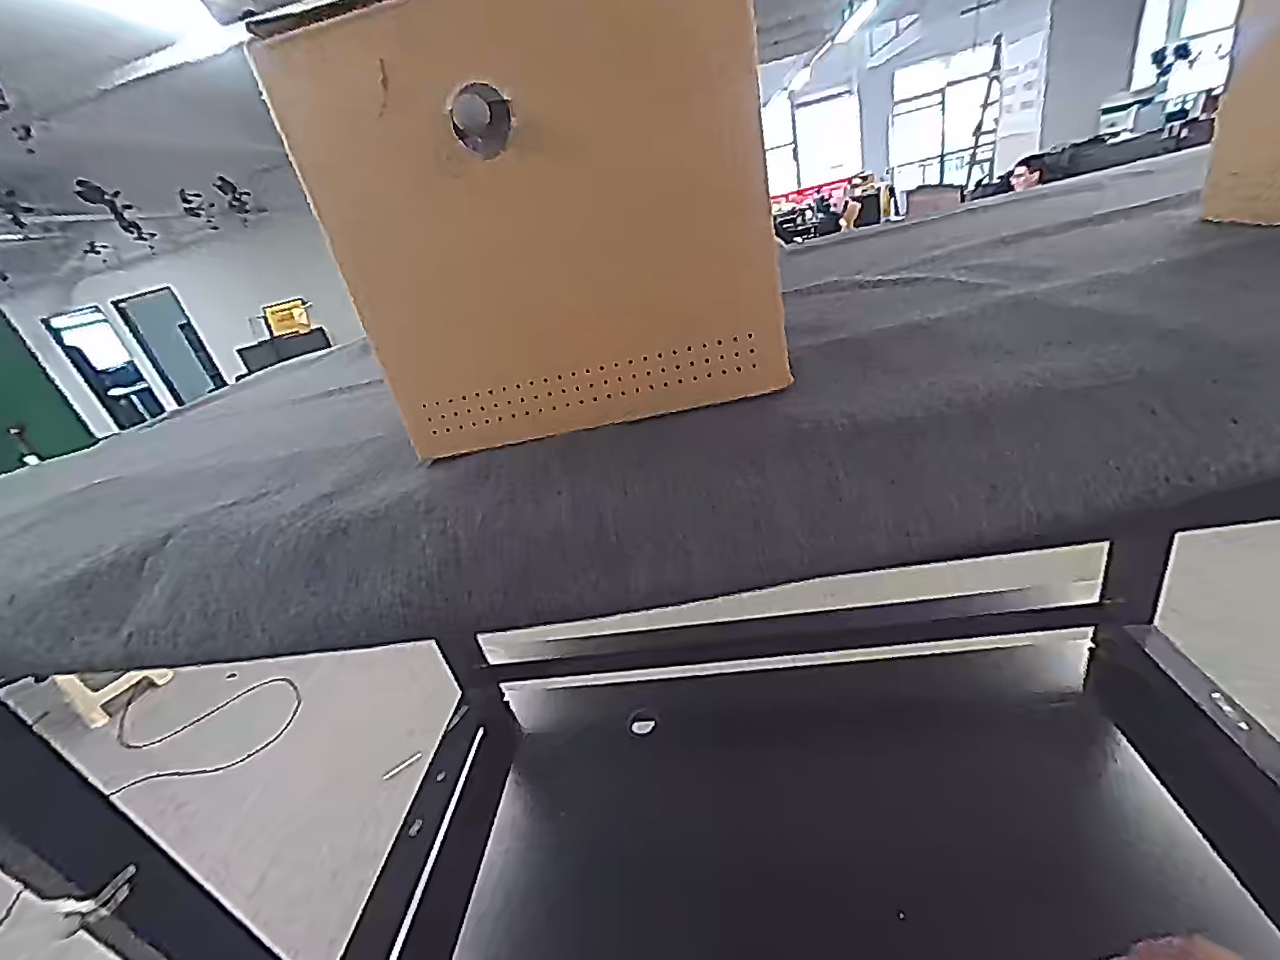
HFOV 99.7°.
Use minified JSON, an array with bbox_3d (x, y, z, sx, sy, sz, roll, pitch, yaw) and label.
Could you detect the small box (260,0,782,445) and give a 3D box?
[{"bbox_3d":[-0.034,-0.130,0.286,0.179,0.176,0.168,-10,25,7],"label":"small box"}]
